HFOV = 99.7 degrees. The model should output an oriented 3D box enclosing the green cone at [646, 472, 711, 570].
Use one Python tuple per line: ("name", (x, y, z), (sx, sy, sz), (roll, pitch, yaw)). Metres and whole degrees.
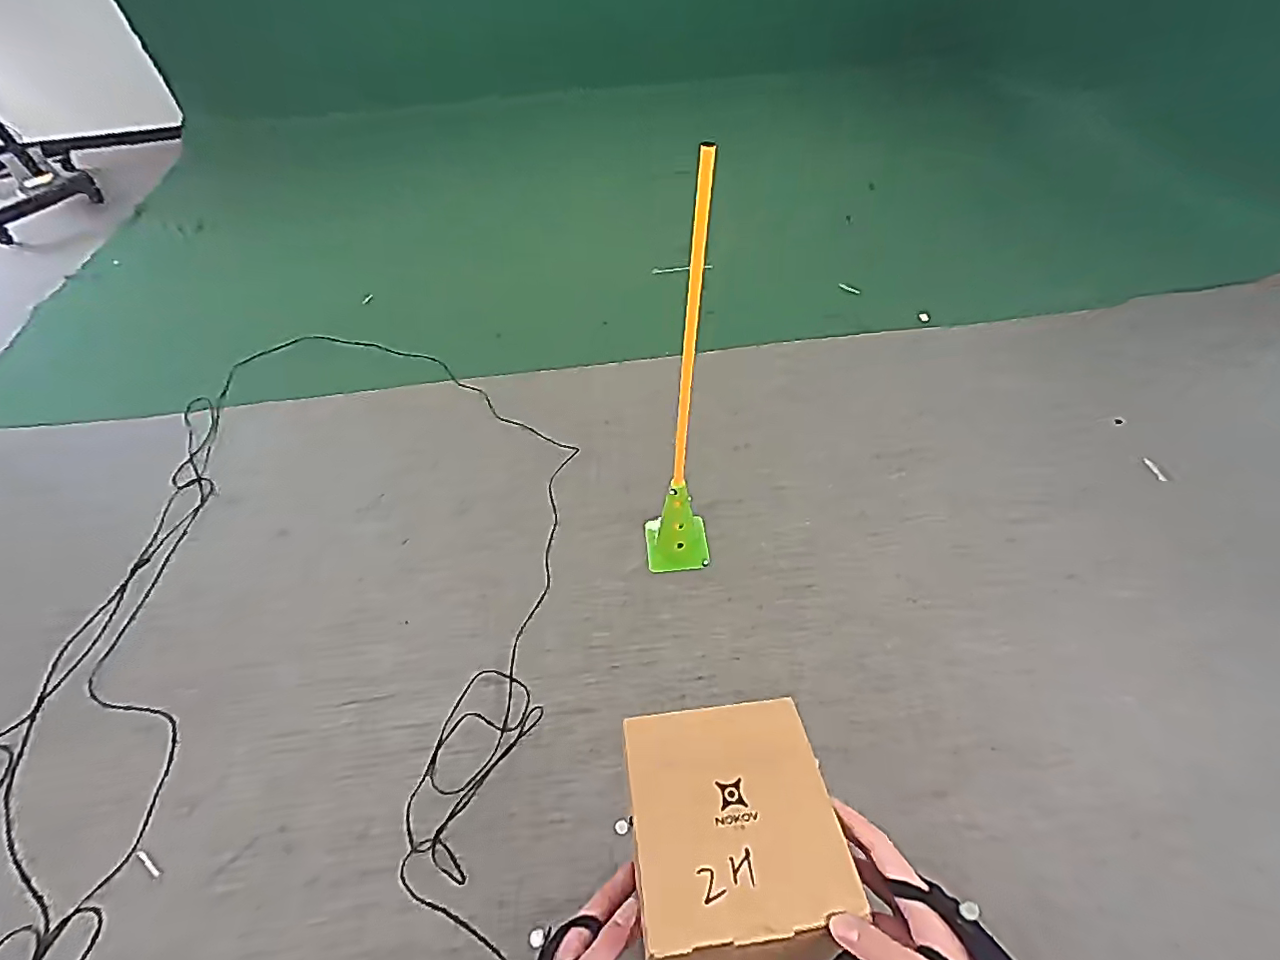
("green cone", (0.114, 0.097, 1.657), (0.202, 0.368, 0.200), (-6, 52, 0))
